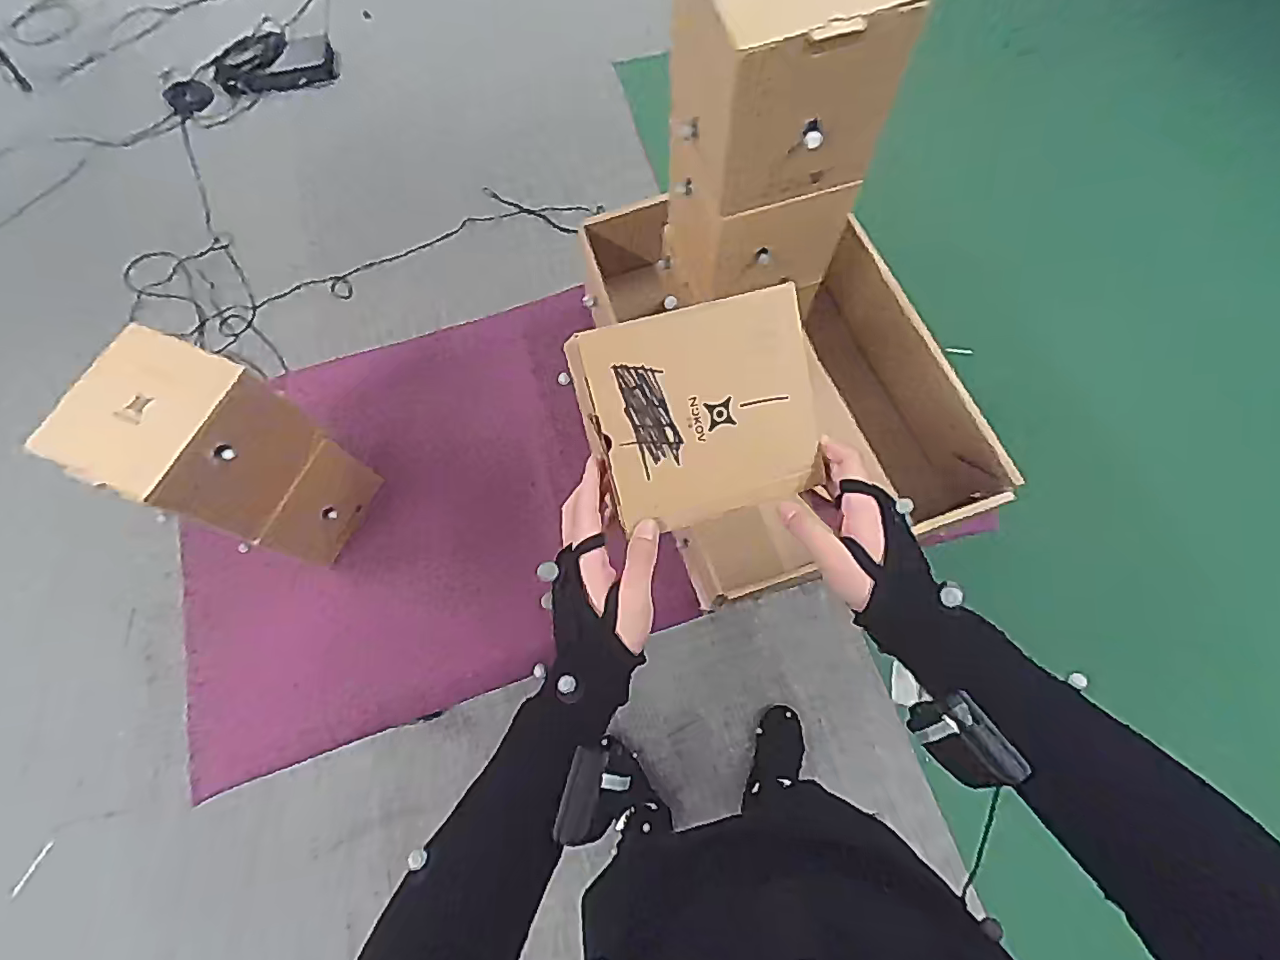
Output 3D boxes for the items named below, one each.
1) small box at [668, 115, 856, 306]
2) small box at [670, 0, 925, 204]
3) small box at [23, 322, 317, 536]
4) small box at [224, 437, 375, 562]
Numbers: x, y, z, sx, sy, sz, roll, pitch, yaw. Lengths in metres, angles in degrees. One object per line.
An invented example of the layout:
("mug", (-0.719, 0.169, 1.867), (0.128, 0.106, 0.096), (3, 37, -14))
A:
("small box", (0.139, -0.345, 0.684), (0.168, 0.176, 0.179), (-17, 70, -3))
("small box", (0.132, -0.402, 0.530), (0.168, 0.176, 0.179), (-16, 71, -3))
("small box", (-0.542, -0.051, 0.657), (0.168, 0.176, 0.179), (22, 72, 8))
("small box", (-0.541, 0.011, 0.808), (0.179, 0.176, 0.168), (21, 71, 10))
